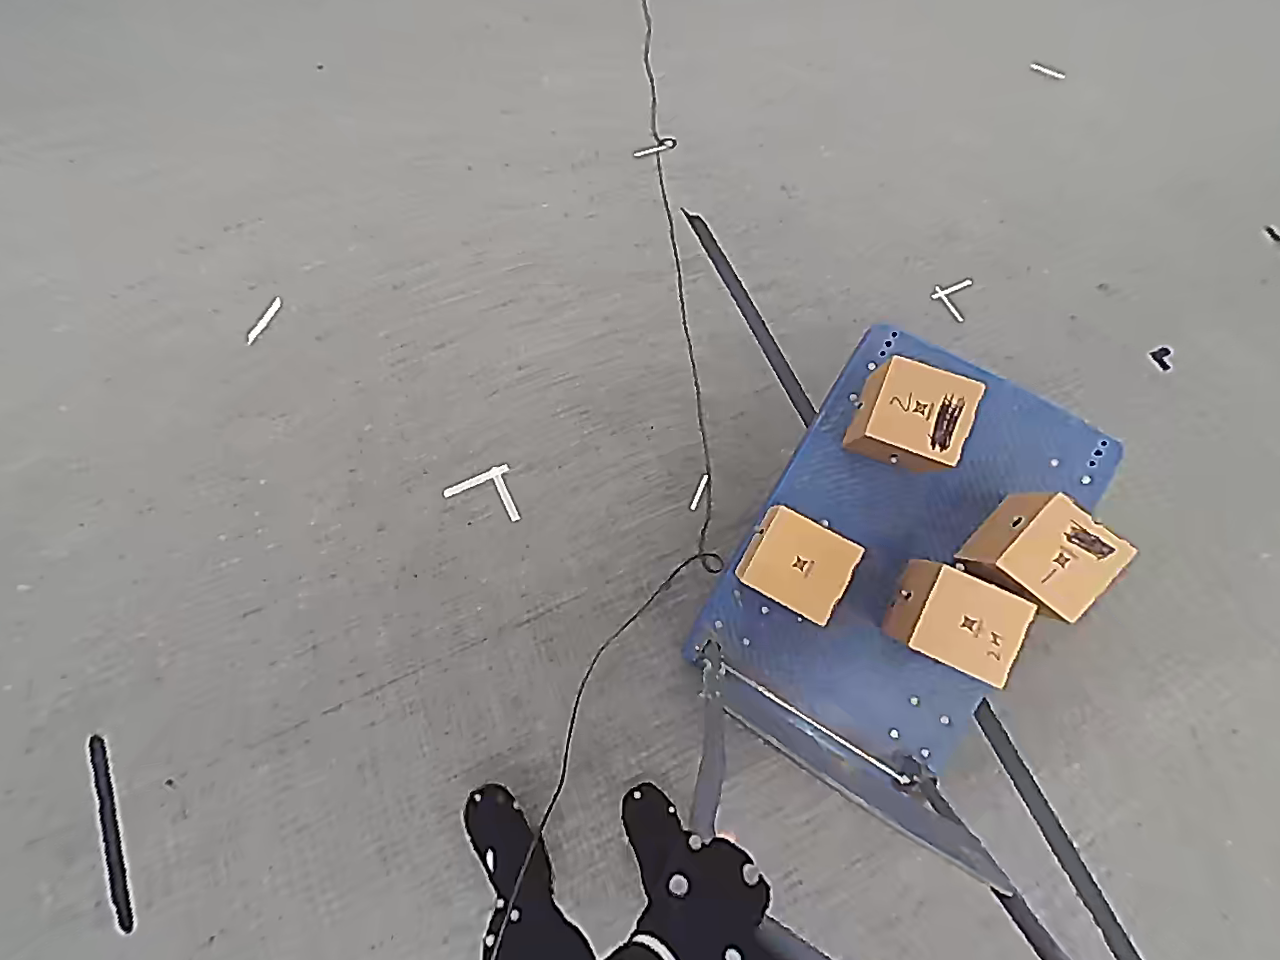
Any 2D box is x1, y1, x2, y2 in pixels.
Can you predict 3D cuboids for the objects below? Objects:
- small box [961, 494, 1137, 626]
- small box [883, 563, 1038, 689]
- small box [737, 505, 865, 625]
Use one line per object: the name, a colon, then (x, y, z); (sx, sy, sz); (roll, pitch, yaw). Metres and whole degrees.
small box: (0.762, 0.146, 1.033); (0.168, 0.176, 0.179); (41, 92, 8)
small box: (0.601, 0.269, 1.042); (0.179, 0.176, 0.168); (25, 89, 8)
small box: (0.309, 0.164, 1.084); (0.179, 0.176, 0.168); (29, 89, 6)
